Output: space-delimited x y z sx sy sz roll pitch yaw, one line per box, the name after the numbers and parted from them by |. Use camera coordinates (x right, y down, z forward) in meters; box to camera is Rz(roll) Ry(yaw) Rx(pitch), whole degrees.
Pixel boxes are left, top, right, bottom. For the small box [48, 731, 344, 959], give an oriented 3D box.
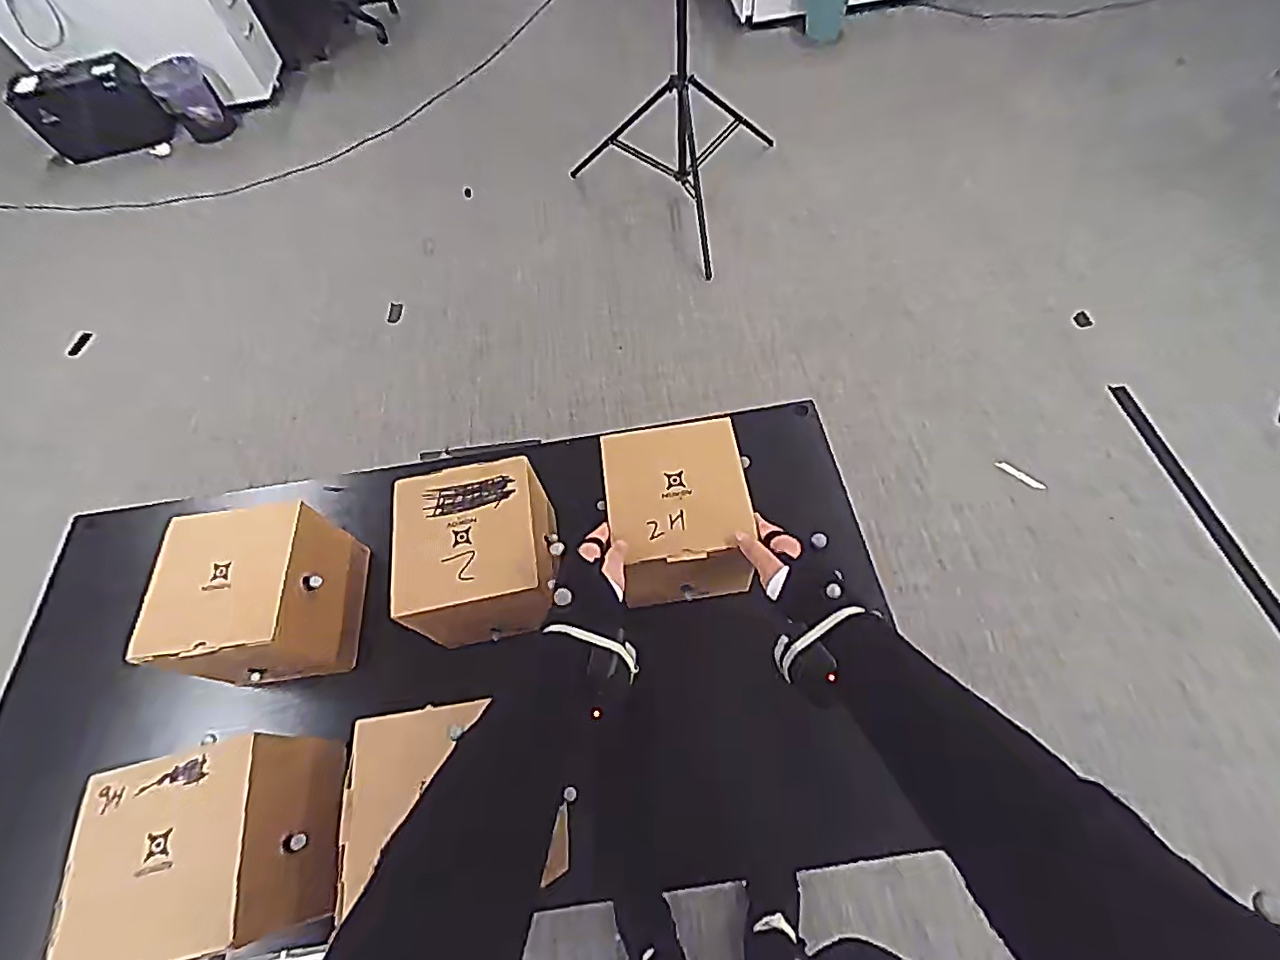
-0.436 0.379 0.568 0.168 0.176 0.179 -14 61 -3 | small box

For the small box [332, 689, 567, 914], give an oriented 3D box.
-0.183 0.331 0.571 0.179 0.176 0.168 -9 61 0 | small box

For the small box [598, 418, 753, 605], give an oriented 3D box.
0.043 0.047 0.705 0.168 0.176 0.179 -9 61 2 | small box

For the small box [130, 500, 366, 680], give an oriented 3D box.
-0.482 0.147 0.701 0.168 0.176 0.179 -8 61 1 | small box
